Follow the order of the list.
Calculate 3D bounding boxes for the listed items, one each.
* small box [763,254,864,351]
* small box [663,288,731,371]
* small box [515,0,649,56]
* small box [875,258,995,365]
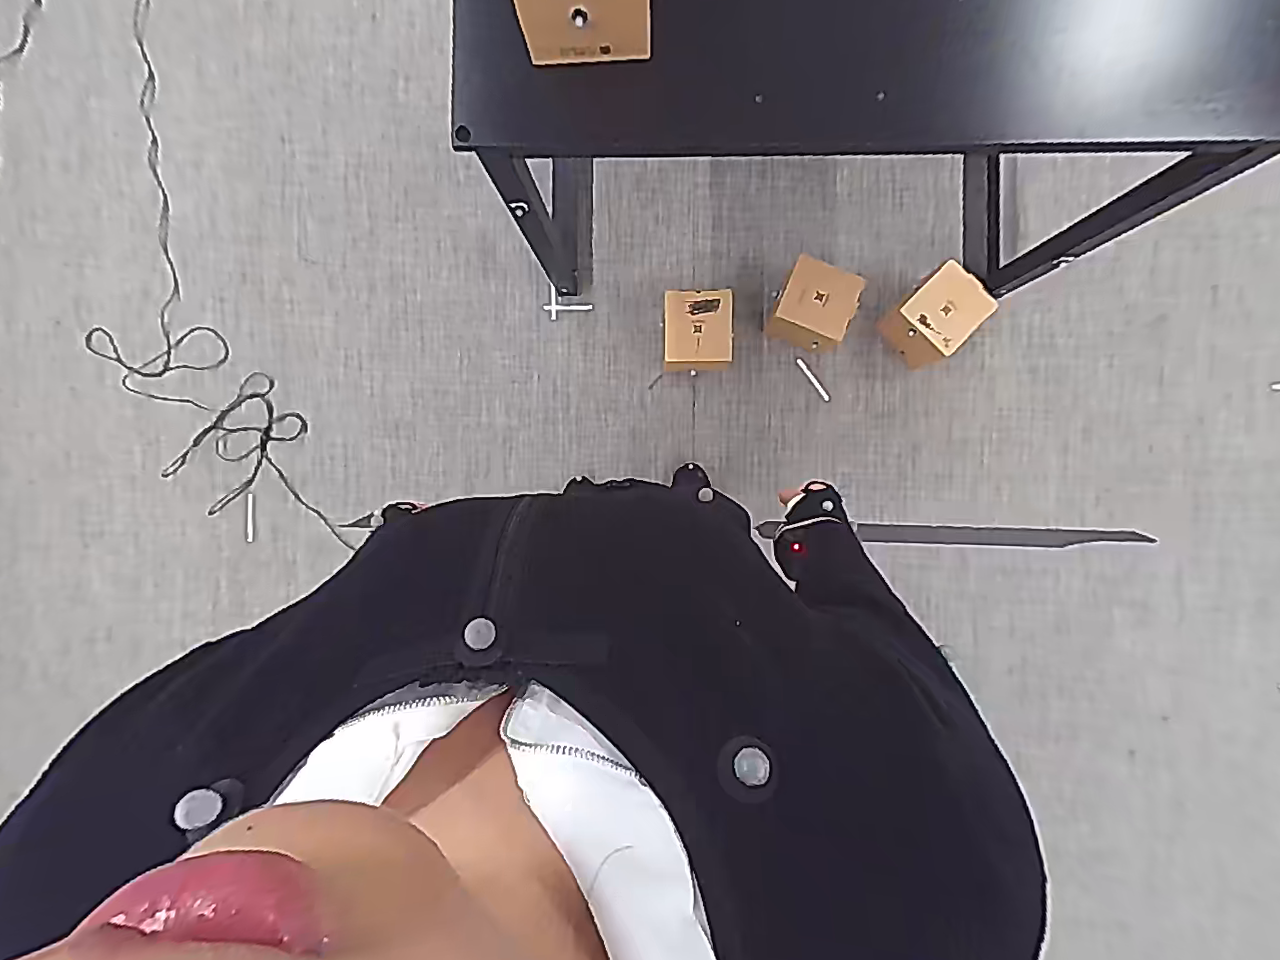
[{"bbox_3d":[0.438,-0.447,1.392,0.179,0.176,0.168,22,91,2],"label":"small box"},{"bbox_3d":[0.144,-0.384,1.404,0.168,0.176,0.179,0,93,2],"label":"small box"},{"bbox_3d":[-0.074,-0.670,0.674,0.168,0.176,0.179,-2,91,2],"label":"small box"},{"bbox_3d":[0.740,-0.419,1.378,0.168,0.176,0.179,44,93,1],"label":"small box"}]
